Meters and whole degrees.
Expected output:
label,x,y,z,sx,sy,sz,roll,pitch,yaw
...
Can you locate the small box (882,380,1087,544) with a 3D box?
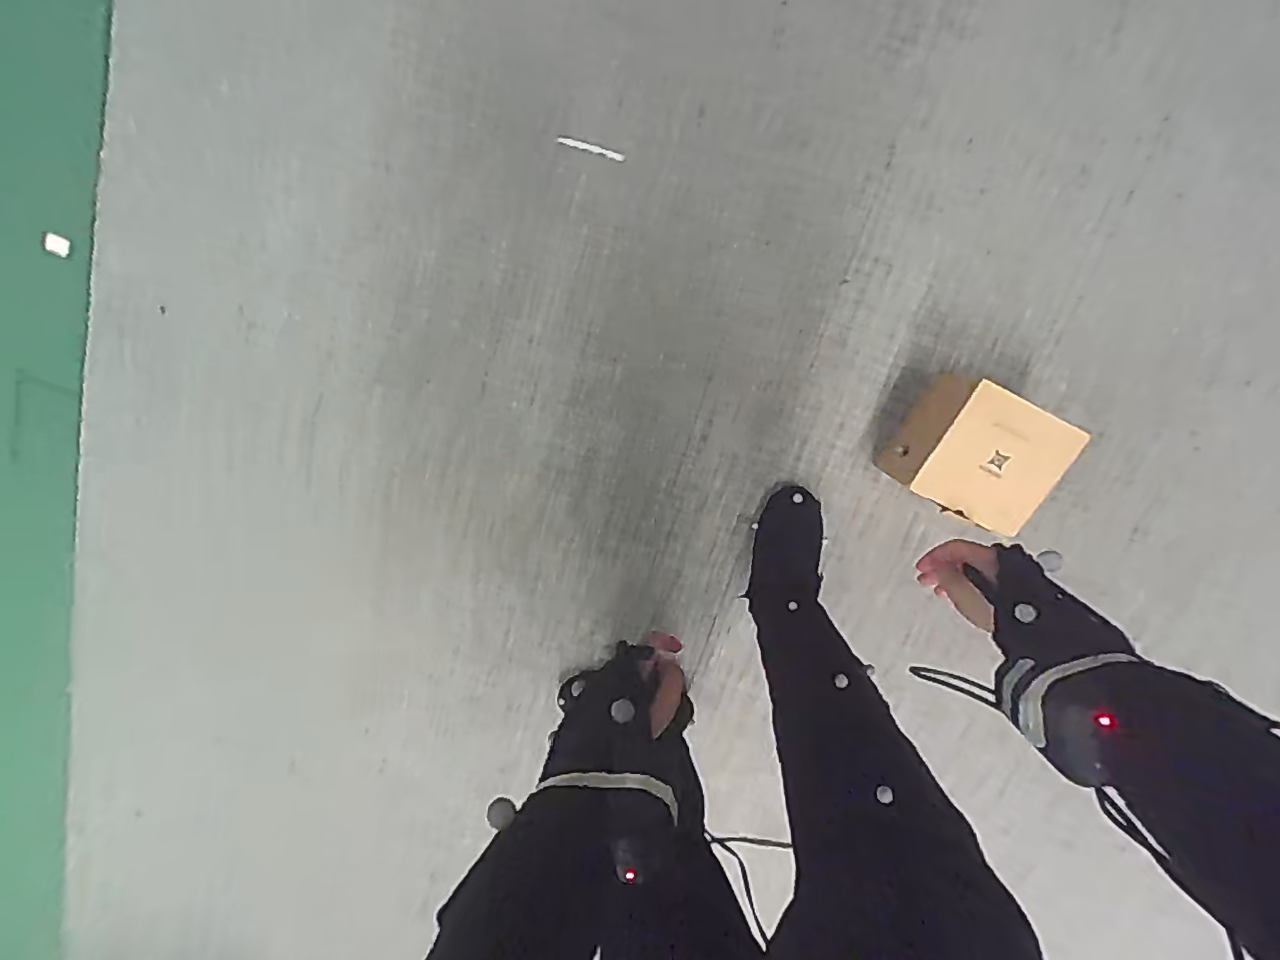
label,x,y,z,sx,sy,sz,roll,pitch,yaw
small box,0.494,-0.036,0.814,0.168,0.176,0.179,28,103,0
